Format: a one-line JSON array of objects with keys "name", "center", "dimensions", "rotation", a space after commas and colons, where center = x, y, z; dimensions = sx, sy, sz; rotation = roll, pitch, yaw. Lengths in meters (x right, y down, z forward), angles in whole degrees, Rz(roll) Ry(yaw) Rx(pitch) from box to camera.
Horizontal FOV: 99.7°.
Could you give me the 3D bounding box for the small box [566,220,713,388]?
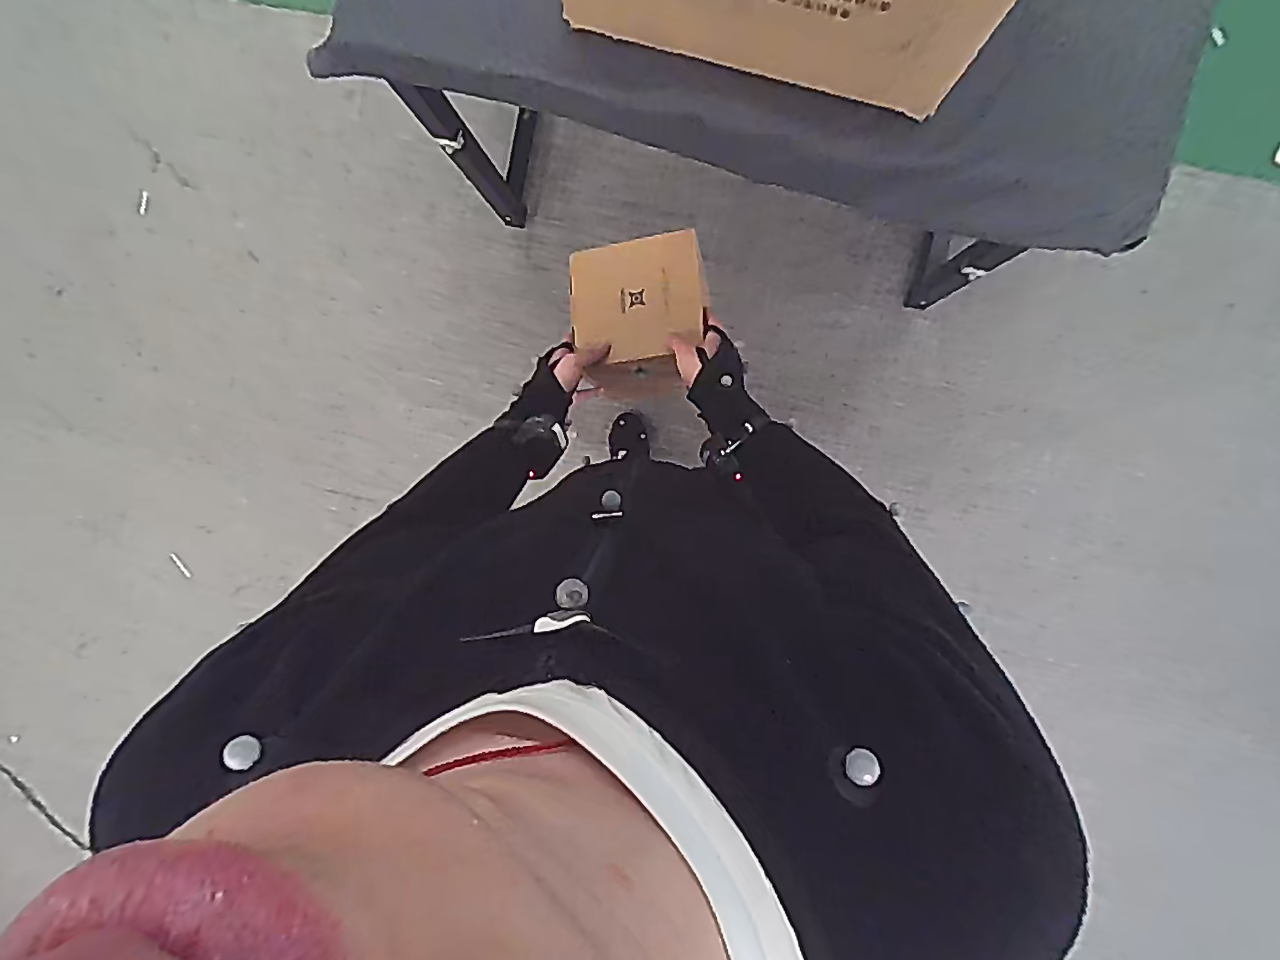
[{"name": "small box", "center": [0.006, -0.239, 0.781], "dimensions": [0.179, 0.176, 0.168], "rotation": [-6, 84, 10]}]
